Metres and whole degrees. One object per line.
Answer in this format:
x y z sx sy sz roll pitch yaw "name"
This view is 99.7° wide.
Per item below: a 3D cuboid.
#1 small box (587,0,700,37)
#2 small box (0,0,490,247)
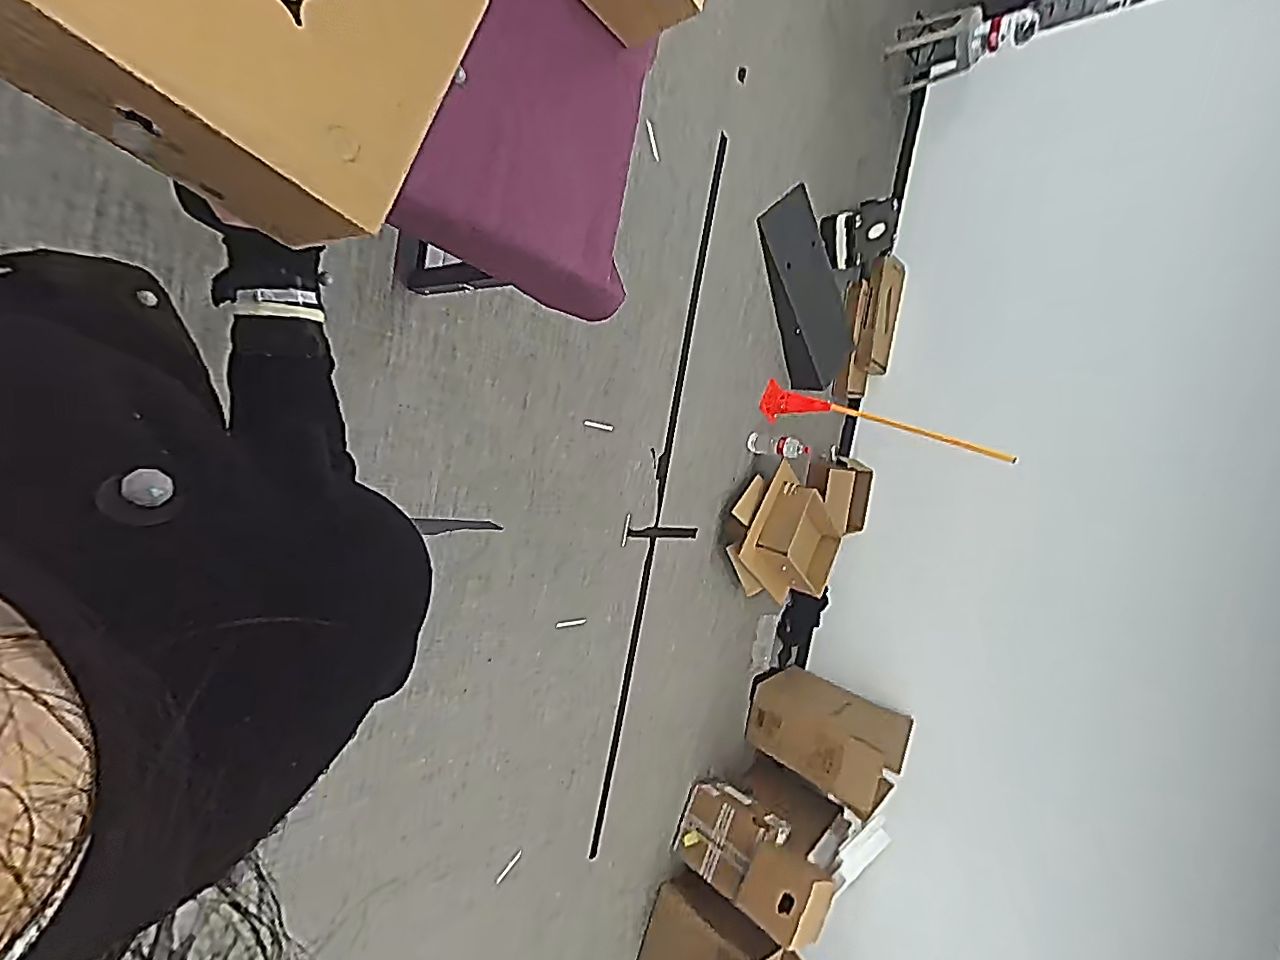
-0.008 -0.849 0.844 0.179 0.176 0.168 8 95 -50 "small box"
-0.230 -0.265 0.328 0.168 0.176 0.179 28 81 -48 "small box"
